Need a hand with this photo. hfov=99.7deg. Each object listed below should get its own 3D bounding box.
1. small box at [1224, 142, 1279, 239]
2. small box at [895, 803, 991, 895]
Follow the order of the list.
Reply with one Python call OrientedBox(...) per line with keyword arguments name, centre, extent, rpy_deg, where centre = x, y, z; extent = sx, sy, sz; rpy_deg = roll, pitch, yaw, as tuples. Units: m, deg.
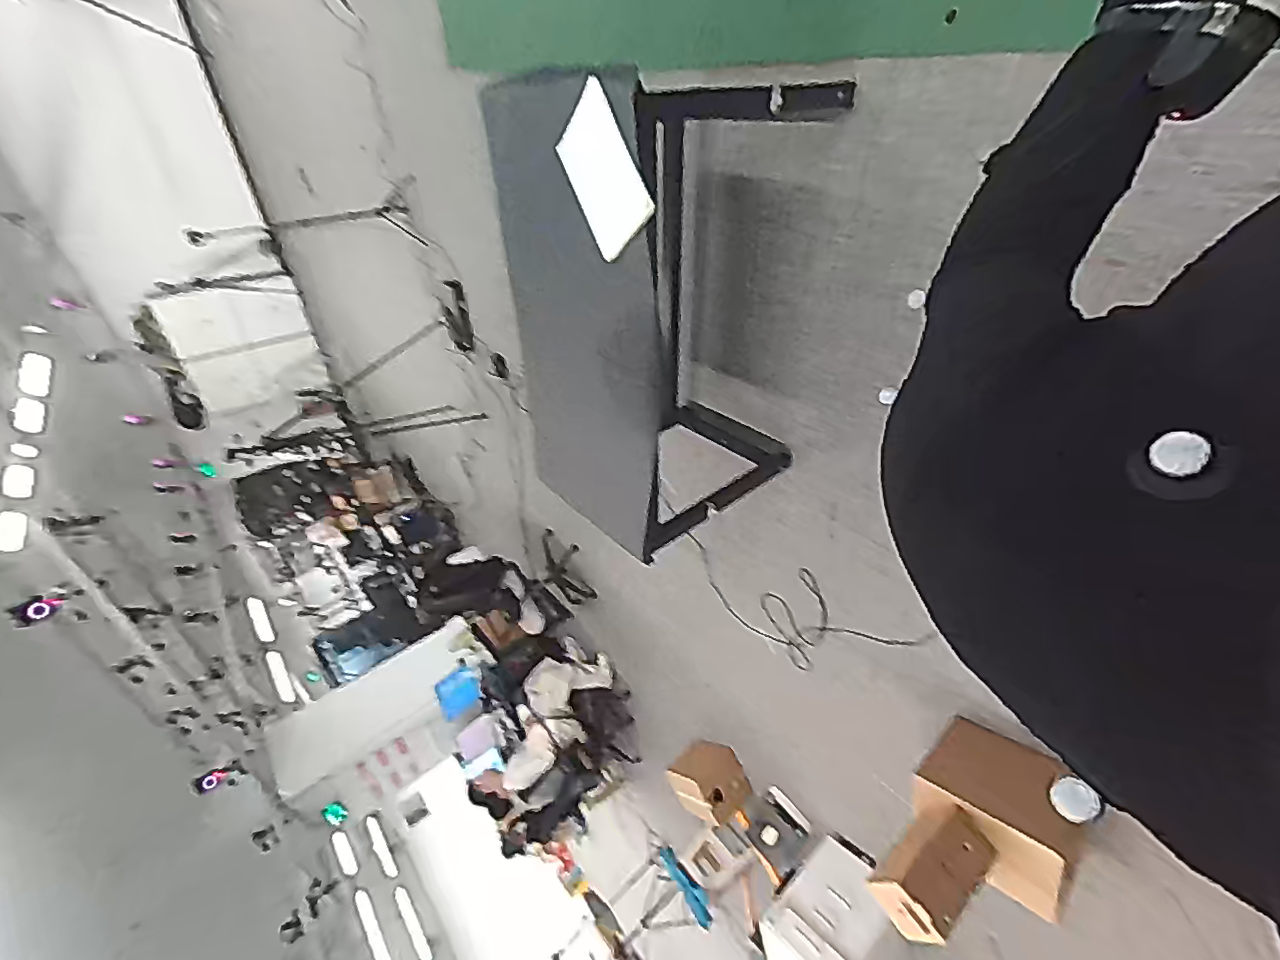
OrientedBox(name="small box", centre=(1.067, -0.448, 0.798), extent=(0.176, 0.168, 0.179), rpy_deg=(24, 113, 7))
OrientedBox(name="small box", centre=(0.928, 1.121, 1.647), extent=(0.168, 0.176, 0.179), rpy_deg=(49, 144, 21))
